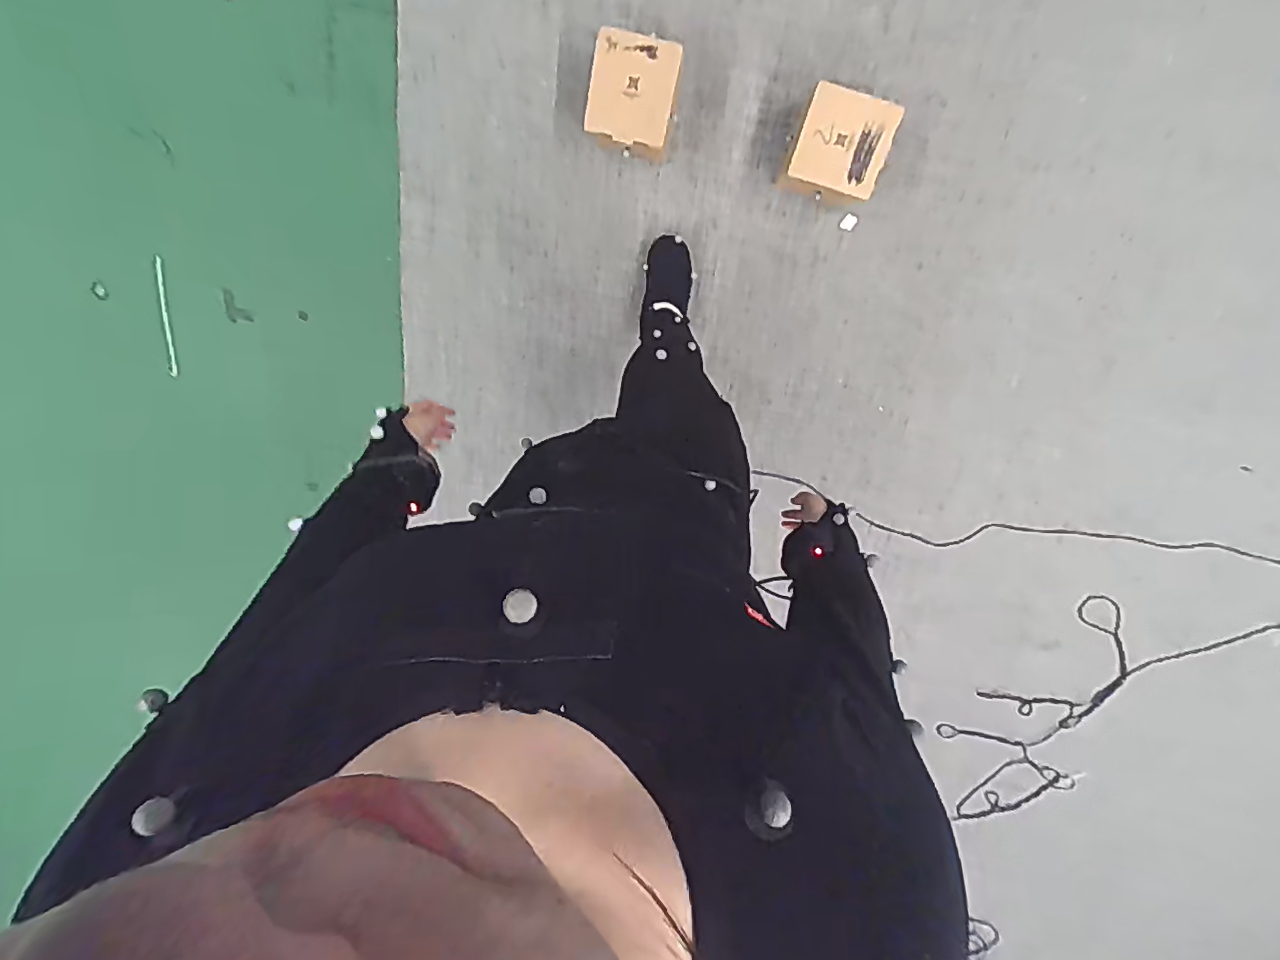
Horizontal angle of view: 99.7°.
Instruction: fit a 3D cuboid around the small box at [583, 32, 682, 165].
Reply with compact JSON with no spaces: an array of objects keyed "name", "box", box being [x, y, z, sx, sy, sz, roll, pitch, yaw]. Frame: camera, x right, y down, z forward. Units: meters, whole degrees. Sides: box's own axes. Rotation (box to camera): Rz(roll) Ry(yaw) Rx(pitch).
[{"name":"small box","box":[-0.010,-0.780,1.128,0.168,0.176,0.179,14,113,-1]}]
